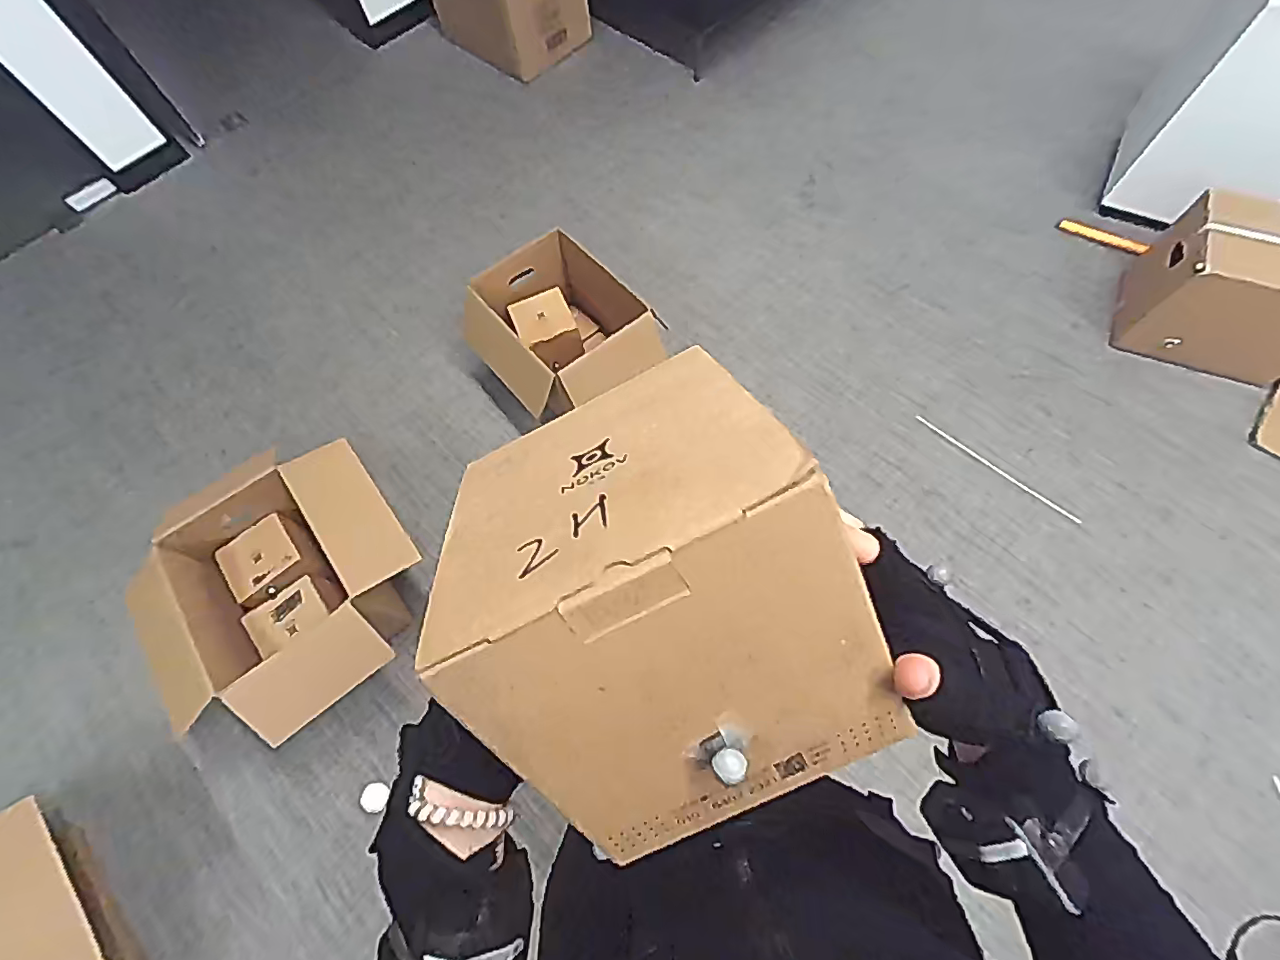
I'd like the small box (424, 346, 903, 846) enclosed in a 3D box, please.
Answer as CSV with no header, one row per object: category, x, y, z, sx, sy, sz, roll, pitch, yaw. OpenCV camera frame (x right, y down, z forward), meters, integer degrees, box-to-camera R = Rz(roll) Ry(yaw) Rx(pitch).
small box,0.015,0.054,0.302,0.168,0.176,0.179,-27,30,5
